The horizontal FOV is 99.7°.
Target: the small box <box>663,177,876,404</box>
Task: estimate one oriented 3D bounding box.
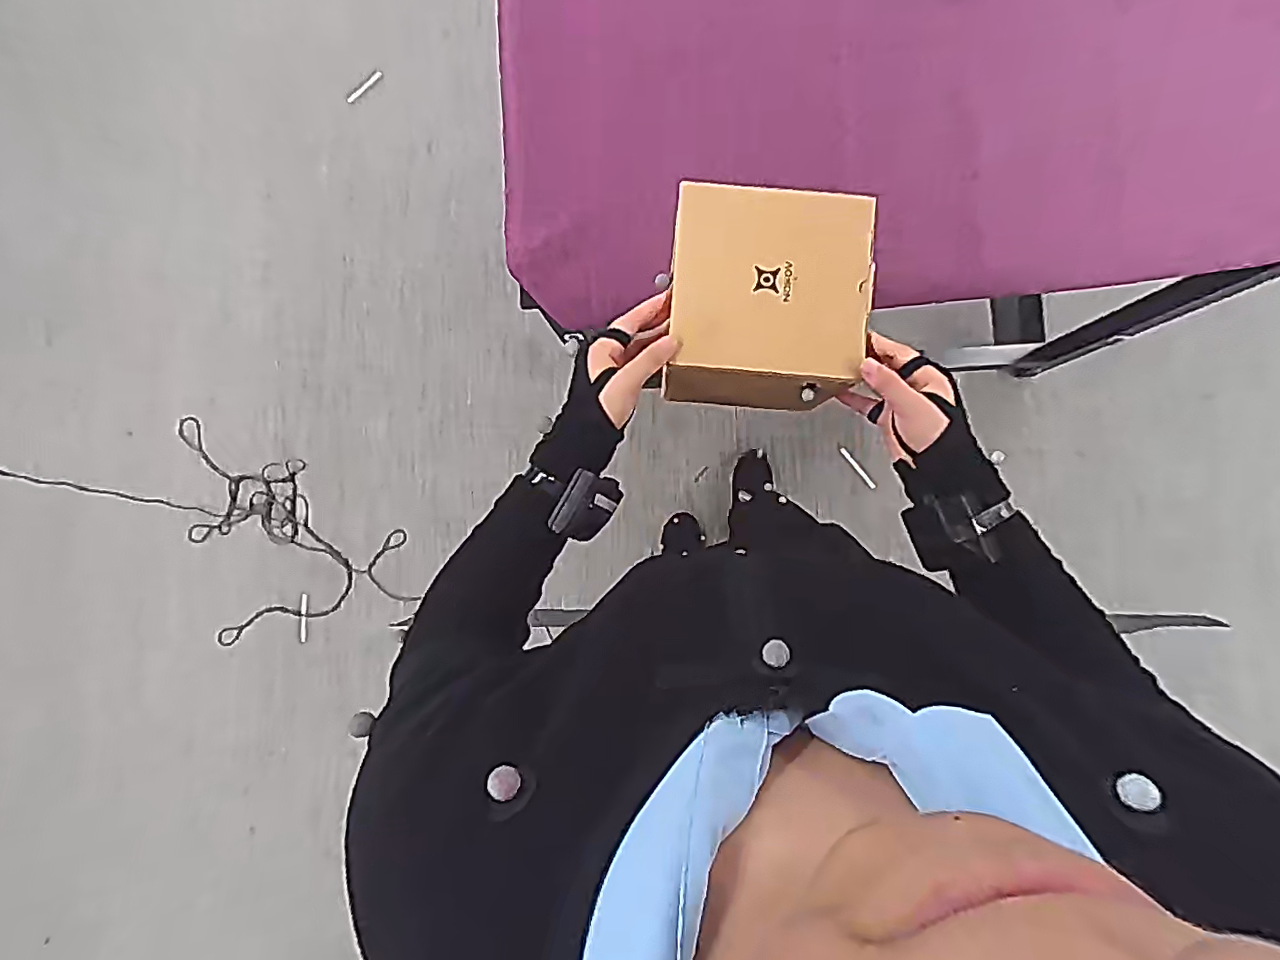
[{"bbox_3d":[0.117,-0.178,0.555,0.179,0.176,0.168,4,87,0],"label":"small box"}]
